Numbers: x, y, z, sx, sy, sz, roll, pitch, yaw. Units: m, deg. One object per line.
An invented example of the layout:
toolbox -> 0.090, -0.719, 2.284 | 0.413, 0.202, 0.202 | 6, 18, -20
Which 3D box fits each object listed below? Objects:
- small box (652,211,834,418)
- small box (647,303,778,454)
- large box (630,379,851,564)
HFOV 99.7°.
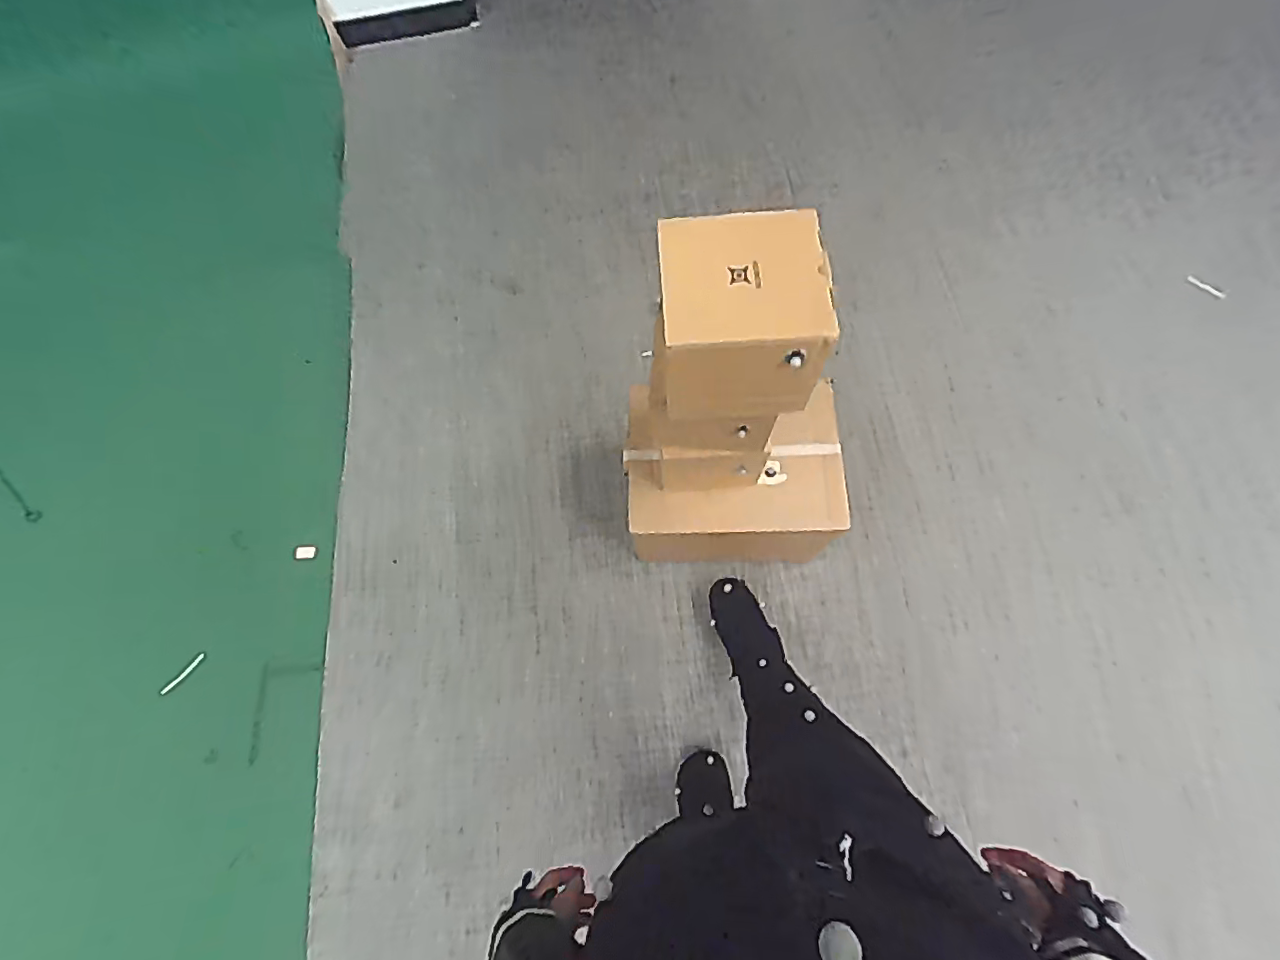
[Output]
small box -> 0.109, -0.183, 0.640 | 0.179, 0.176, 0.168 | -4, 69, 2
small box -> 0.106, -0.146, 0.800 | 0.179, 0.176, 0.168 | 2, 70, 6
large box -> 0.189, -0.001, 1.175 | 0.408, 0.320, 0.320 | -2, 72, 3
